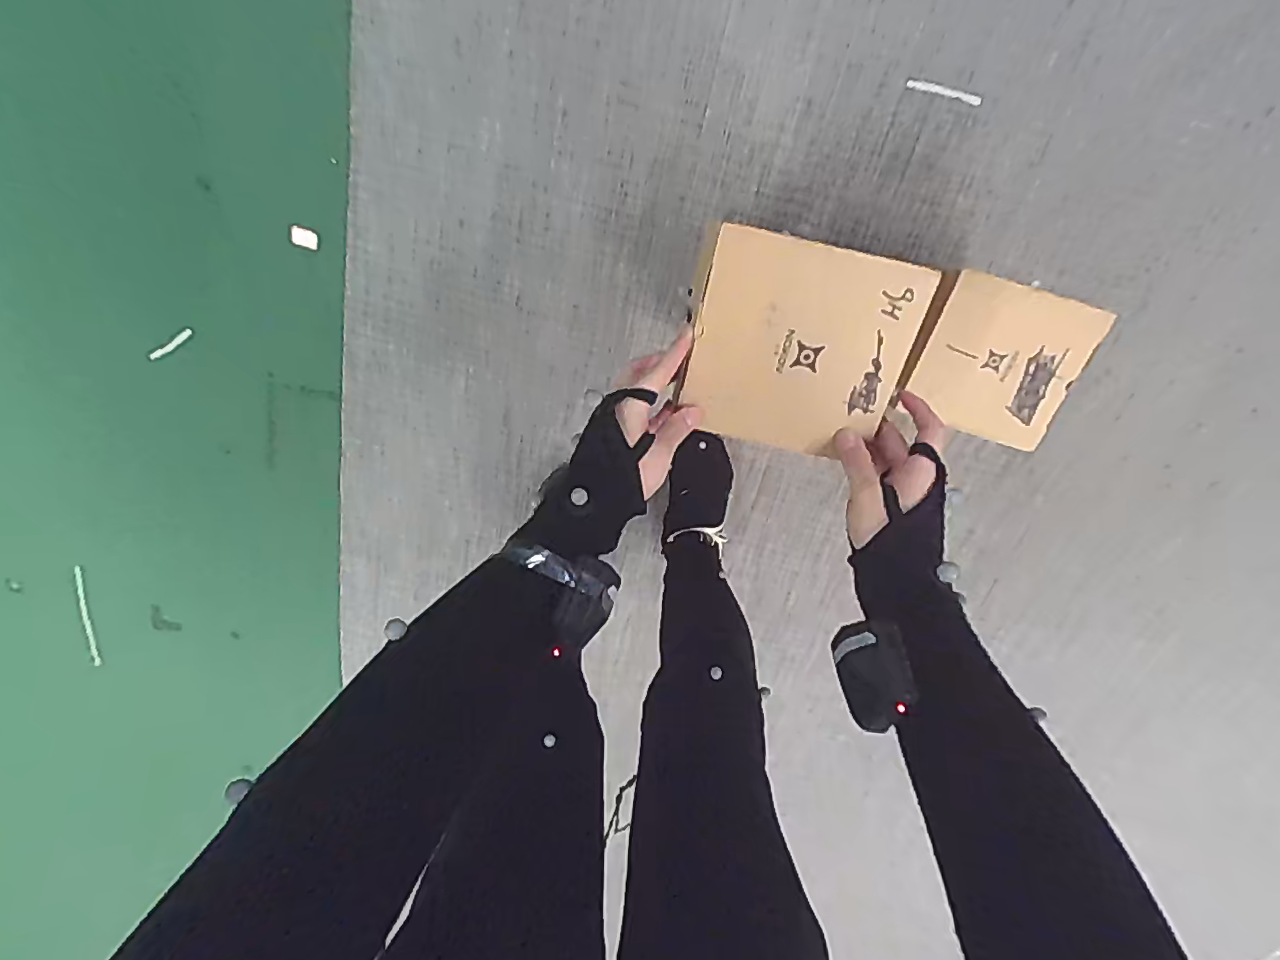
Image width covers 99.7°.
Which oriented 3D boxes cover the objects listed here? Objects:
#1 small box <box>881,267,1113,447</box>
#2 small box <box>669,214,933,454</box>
[{"bbox_3d":[0.411,-0.163,0.679,0.179,0.176,0.168,17,113,0],"label":"small box"},{"bbox_3d":[0.133,-0.145,0.519,0.179,0.176,0.168,13,115,0],"label":"small box"}]
